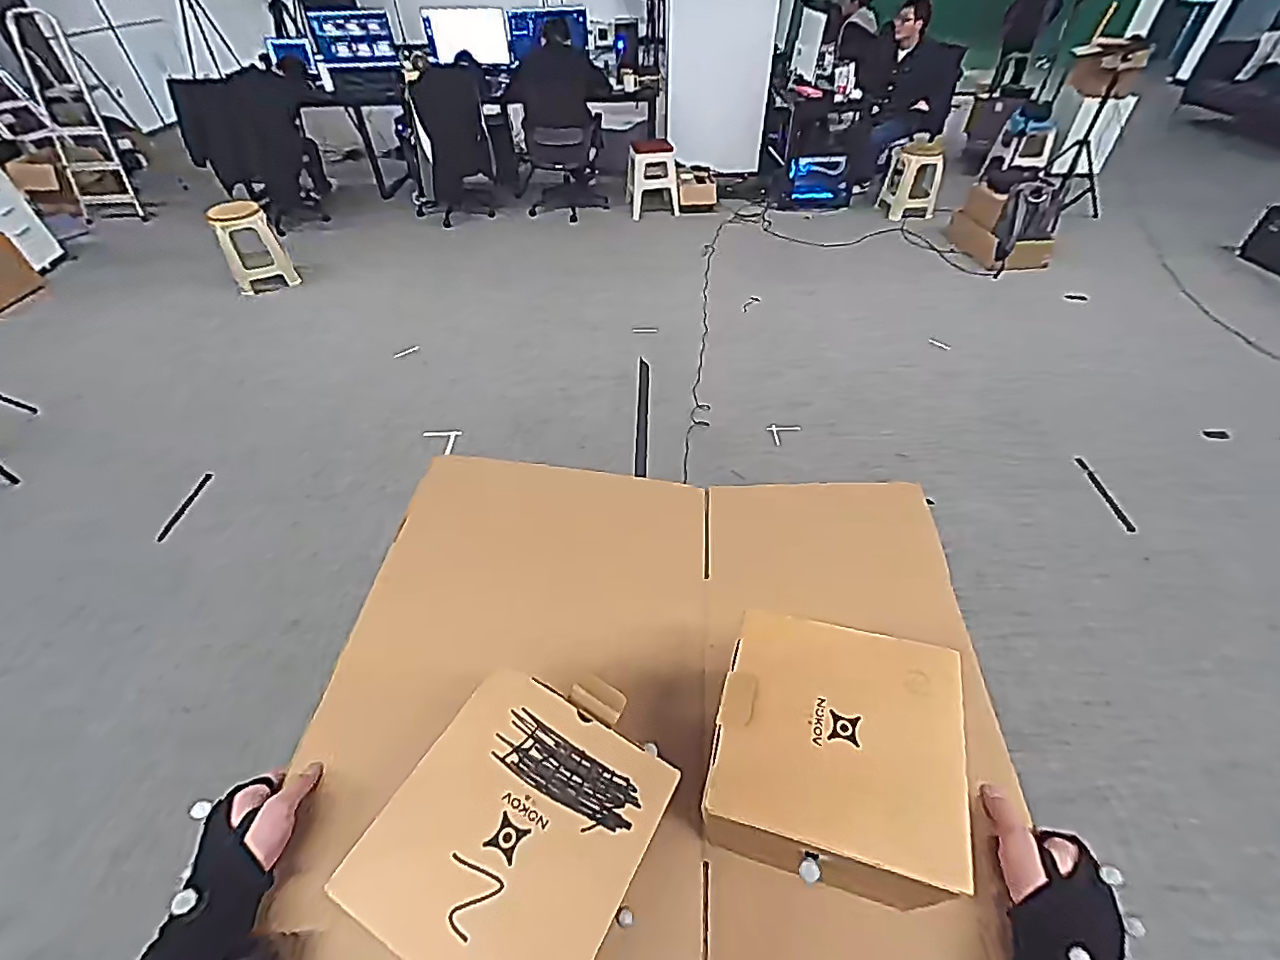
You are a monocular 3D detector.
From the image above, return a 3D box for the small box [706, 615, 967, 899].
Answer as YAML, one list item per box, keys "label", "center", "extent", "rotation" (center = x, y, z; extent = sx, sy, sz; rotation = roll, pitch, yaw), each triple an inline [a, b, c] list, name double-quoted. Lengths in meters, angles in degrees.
- label: "small box"
  center: [0.166, 0.246, 0.481]
  extent: [0.179, 0.176, 0.168]
  rotation: [7, 51, 18]
